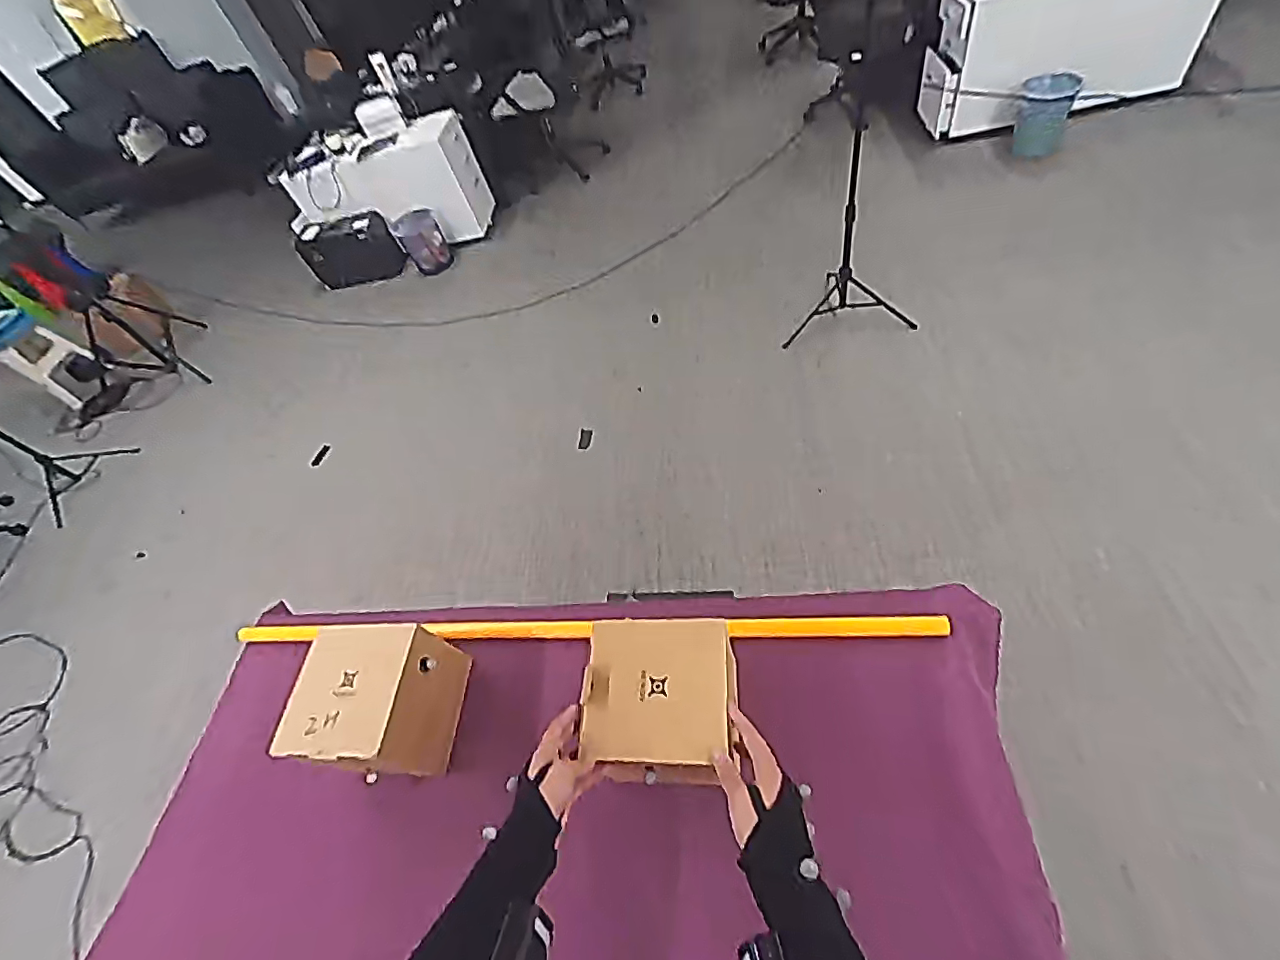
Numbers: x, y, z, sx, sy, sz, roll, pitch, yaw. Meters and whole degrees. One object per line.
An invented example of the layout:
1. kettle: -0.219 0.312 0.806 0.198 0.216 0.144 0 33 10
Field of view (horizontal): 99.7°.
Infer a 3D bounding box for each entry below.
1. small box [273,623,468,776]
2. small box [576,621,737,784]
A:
1. small box: -0.378 0.325 0.799 0.168 0.176 0.179 -5 55 13
2. small box: 0.034 0.292 0.706 0.179 0.176 0.168 -5 54 14
